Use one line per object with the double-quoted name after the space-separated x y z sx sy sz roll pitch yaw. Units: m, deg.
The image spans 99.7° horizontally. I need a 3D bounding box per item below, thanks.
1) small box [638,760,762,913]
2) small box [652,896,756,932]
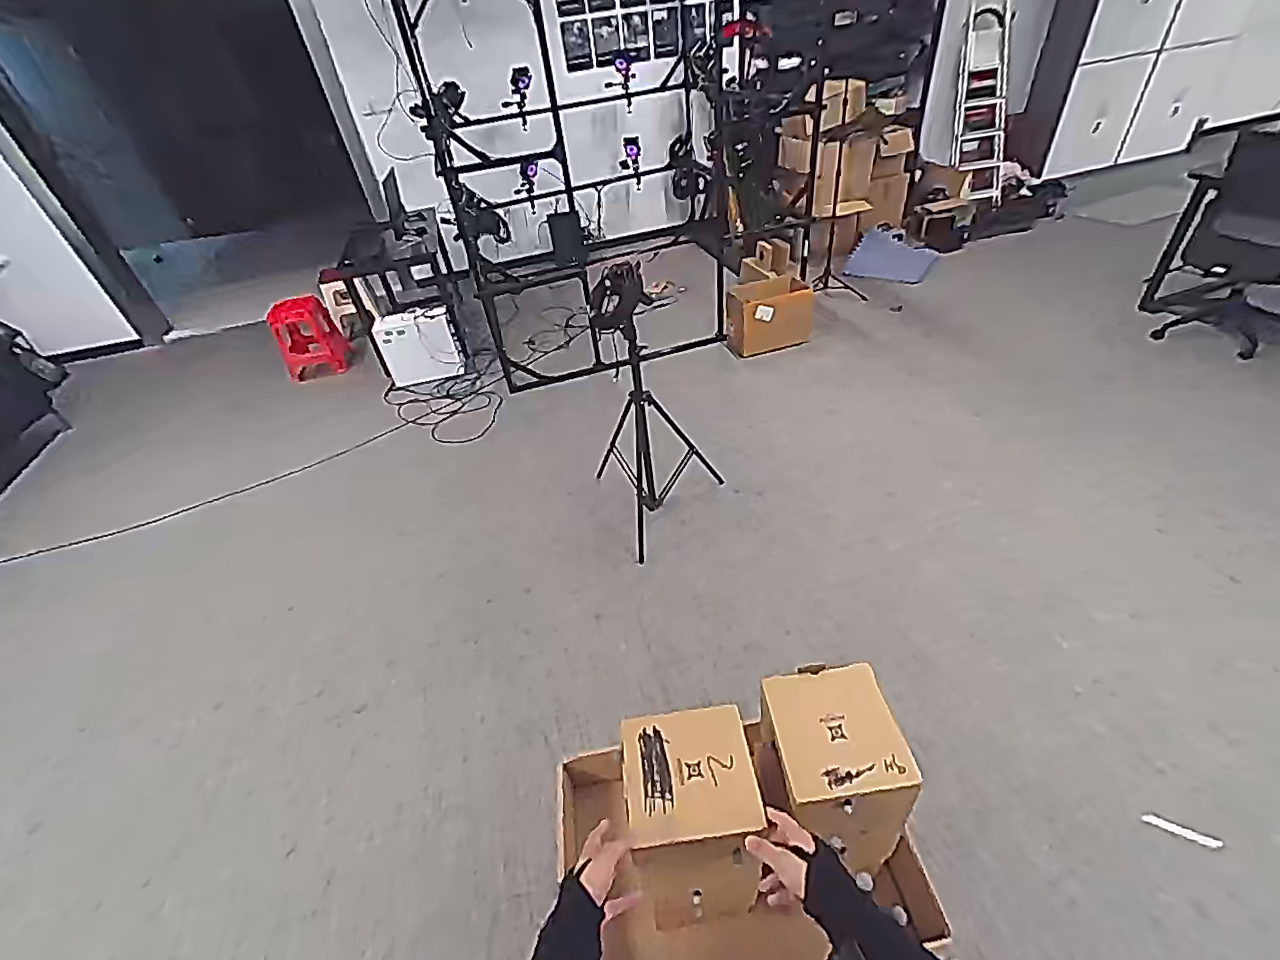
0.092 0.573 0.870 0.179 0.176 0.168 -6 39 3 "small box"
0.102 0.691 0.984 0.179 0.176 0.168 -8 39 -2 "small box"
